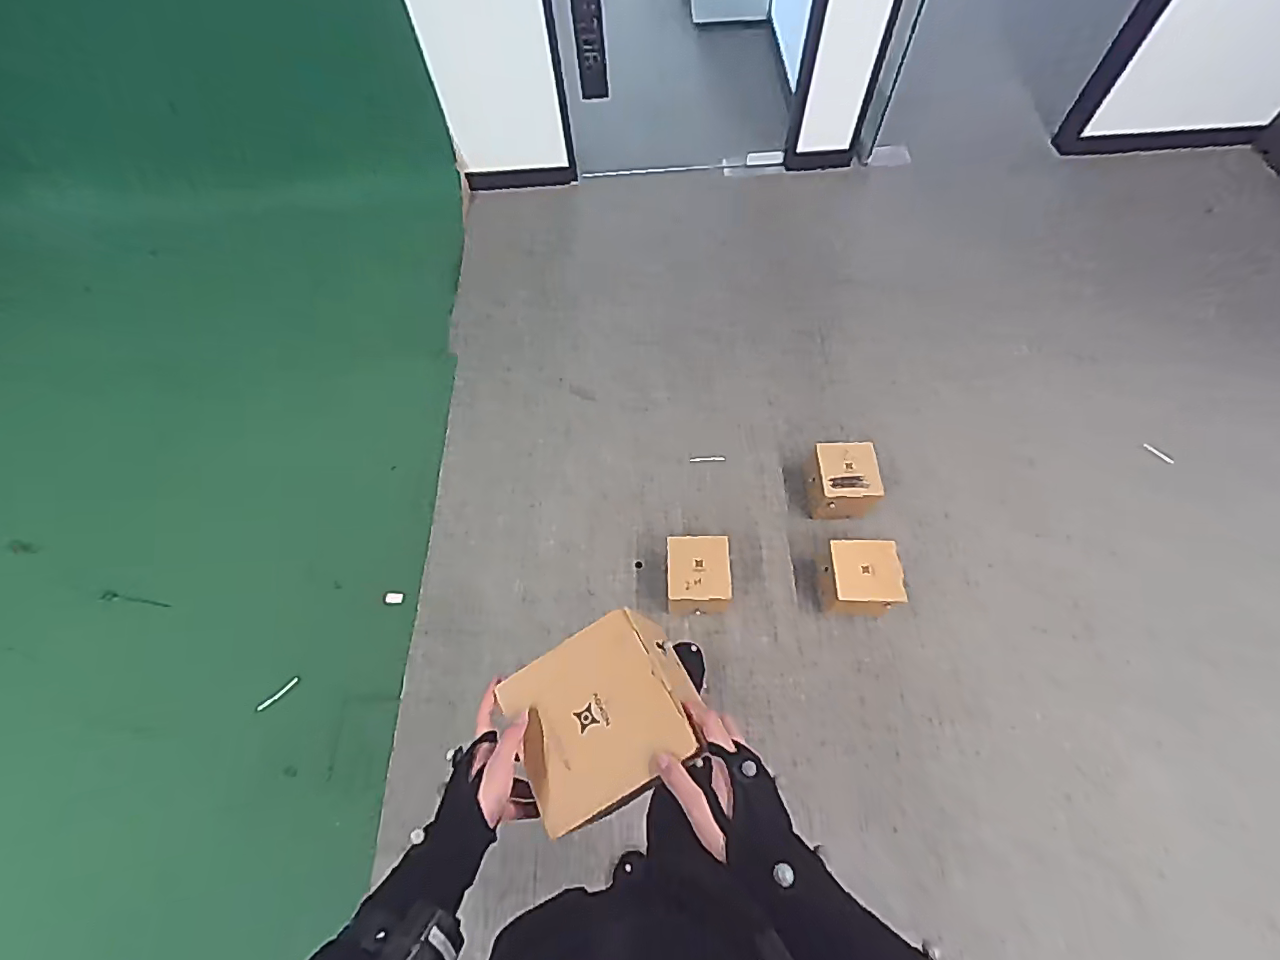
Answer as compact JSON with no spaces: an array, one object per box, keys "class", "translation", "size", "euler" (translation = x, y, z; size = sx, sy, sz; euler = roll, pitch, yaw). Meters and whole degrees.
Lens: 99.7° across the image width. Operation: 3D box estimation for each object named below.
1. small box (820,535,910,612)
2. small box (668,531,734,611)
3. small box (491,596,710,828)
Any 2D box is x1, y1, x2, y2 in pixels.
[{"class":"small box","translation":[0.596,0.256,1.461],"size":[0.179,0.176,0.168],"euler":[0,64,2]},{"class":"small box","translation":[0.162,0.252,1.482],"size":[0.168,0.176,0.179],"euler":[-1,63,3]},{"class":"small box","translation":[-0.034,0.260,0.625],"size":[0.179,0.176,0.168],"euler":[-33,61,2]}]
